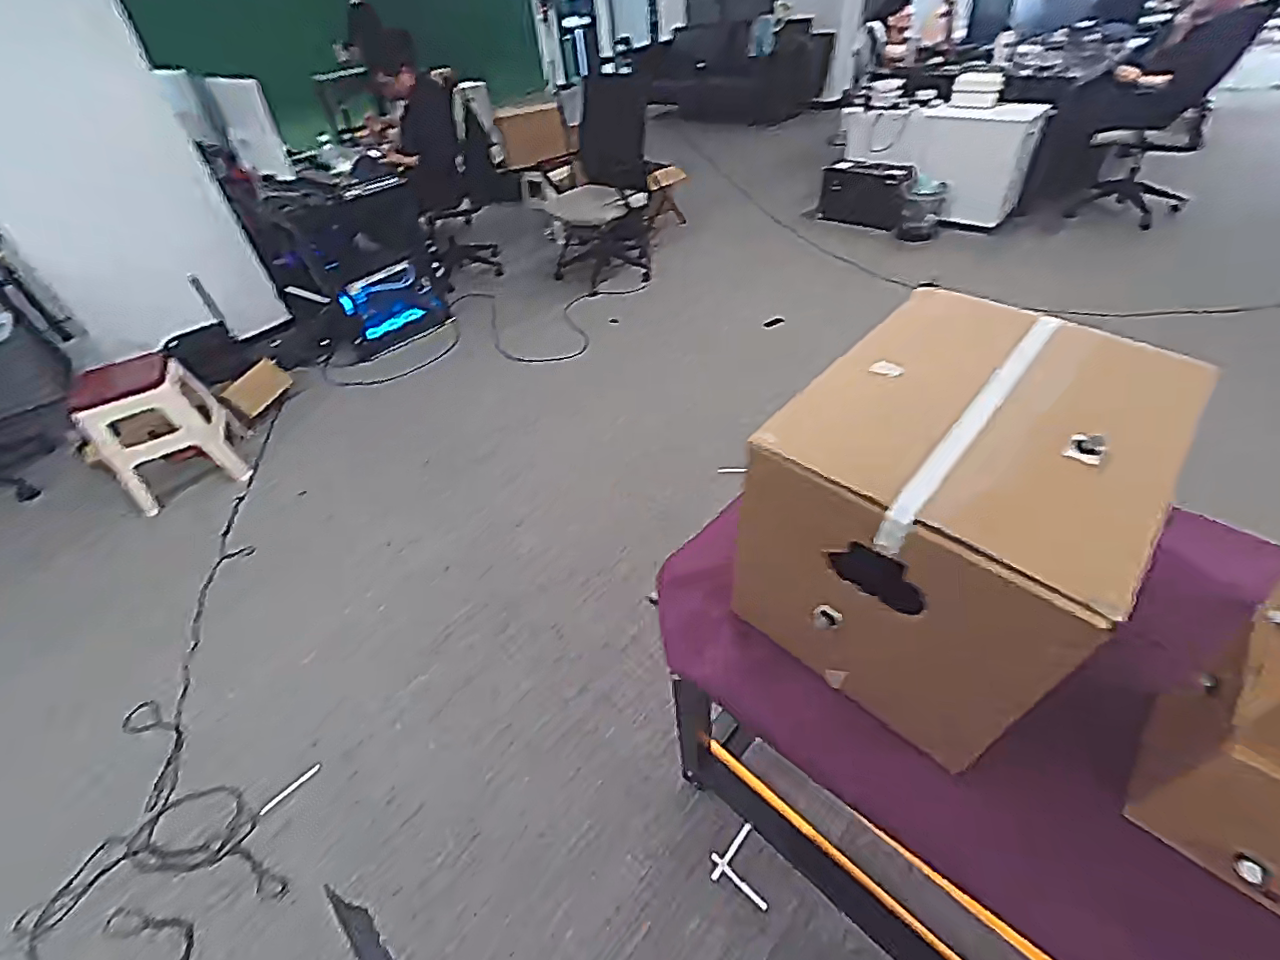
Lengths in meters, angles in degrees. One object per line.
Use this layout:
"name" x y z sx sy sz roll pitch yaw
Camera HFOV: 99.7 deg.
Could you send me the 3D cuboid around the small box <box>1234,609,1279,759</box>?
"small box" 0.588 0.143 0.371 0.179 0.176 0.168 31 55 35
